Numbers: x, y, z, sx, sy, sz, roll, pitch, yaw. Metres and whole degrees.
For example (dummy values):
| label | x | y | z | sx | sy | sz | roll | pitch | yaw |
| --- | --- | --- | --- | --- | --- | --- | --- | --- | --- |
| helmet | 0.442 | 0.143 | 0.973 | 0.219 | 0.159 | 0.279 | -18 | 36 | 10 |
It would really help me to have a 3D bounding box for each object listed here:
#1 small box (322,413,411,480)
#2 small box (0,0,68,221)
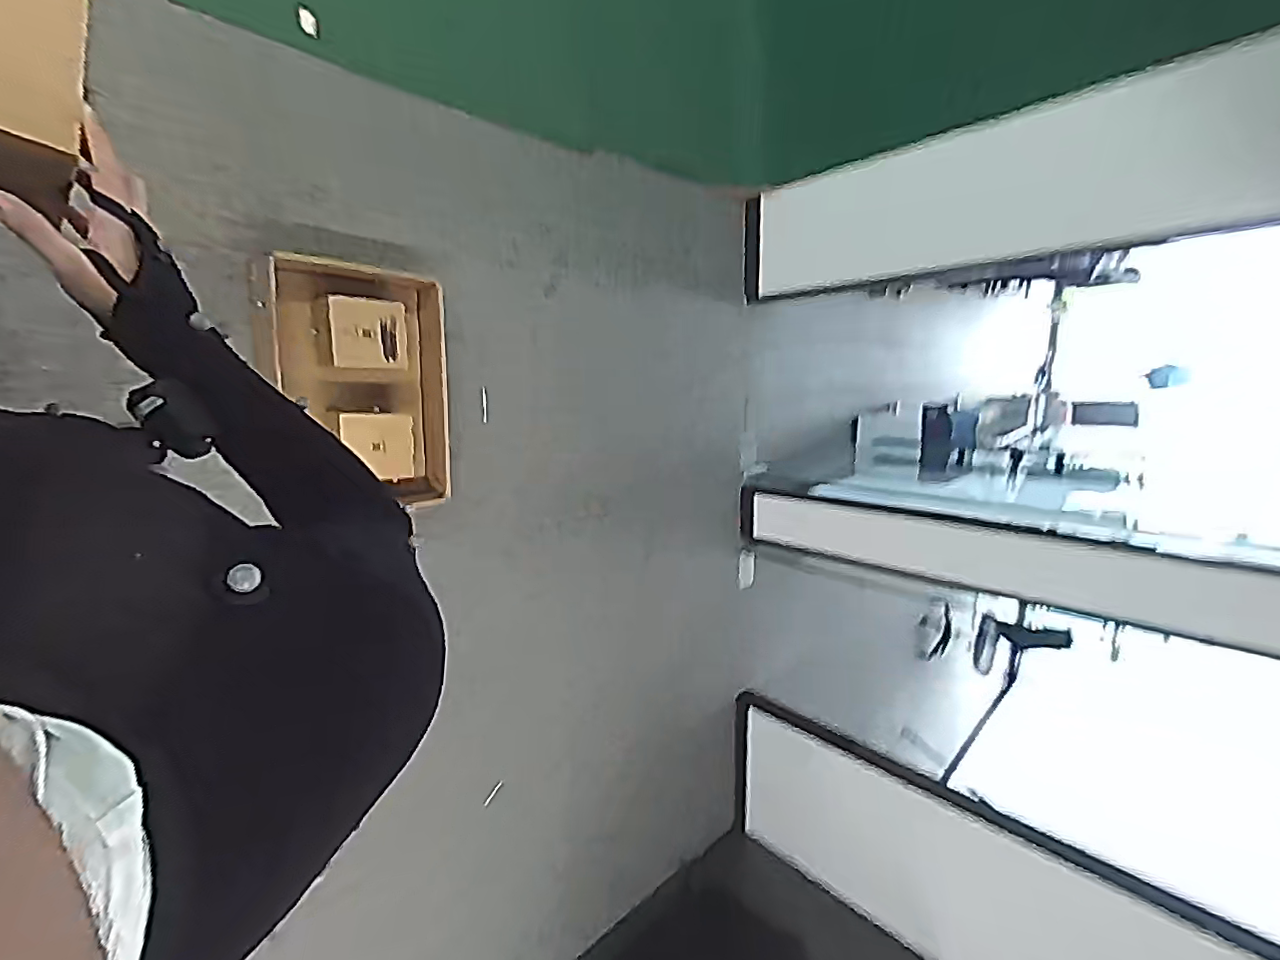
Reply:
| label | x | y | z | sx | sy | sz | roll | pitch | yaw |
| --- | --- | --- | --- | --- | --- | --- | --- | --- | --- |
| small box | -0.727 | -0.092 | 1.430 | 0.179 | 0.176 | 0.168 | -6 | 101 | -43 |
| small box | -0.549 | -0.325 | 0.398 | 0.168 | 0.176 | 0.179 | 3 | 83 | -50 |
